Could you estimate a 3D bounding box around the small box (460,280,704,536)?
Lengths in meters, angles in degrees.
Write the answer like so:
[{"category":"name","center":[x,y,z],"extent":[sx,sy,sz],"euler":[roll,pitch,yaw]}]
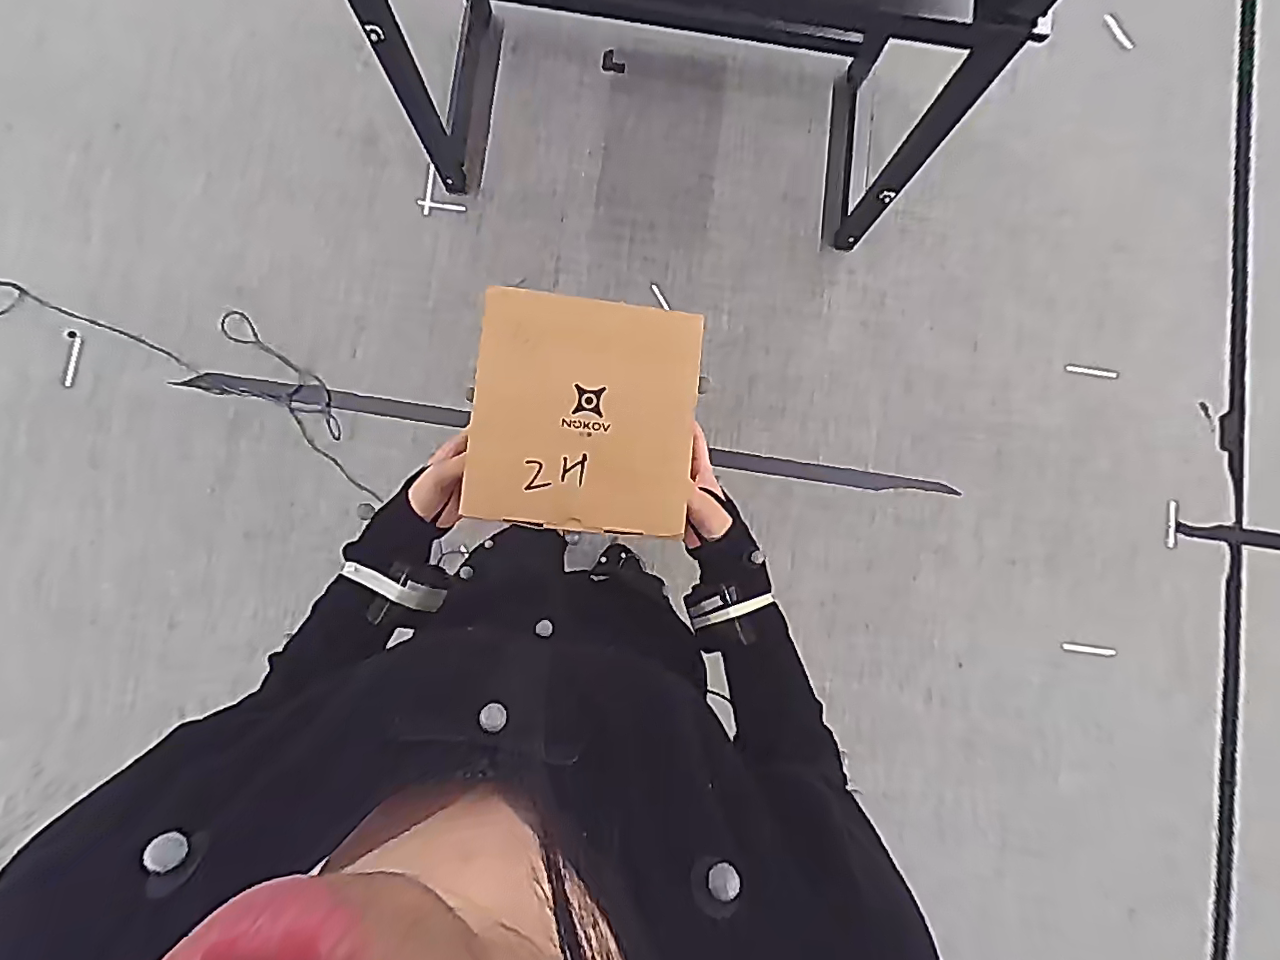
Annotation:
[{"category":"small box","center":[-0.048,-0.048,0.479],"extent":[0.168,0.176,0.179],"euler":[7,86,-5]}]
